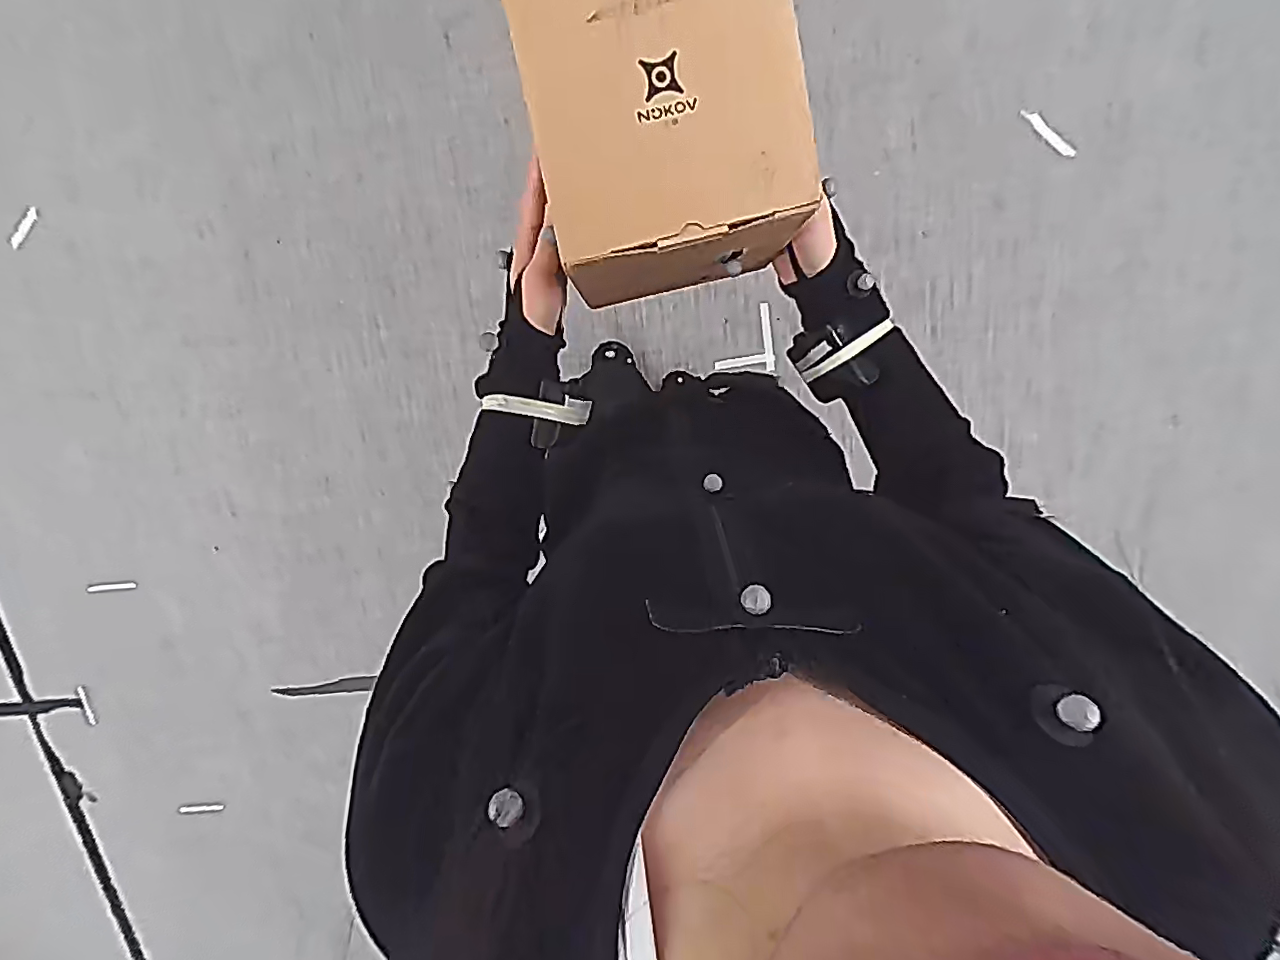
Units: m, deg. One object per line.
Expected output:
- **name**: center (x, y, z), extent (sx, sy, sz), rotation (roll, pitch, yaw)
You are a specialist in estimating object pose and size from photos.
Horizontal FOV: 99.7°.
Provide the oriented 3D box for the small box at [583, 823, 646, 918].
- **small box**: center (-0.074, 1.215, 1.687), extent (0.168, 0.176, 0.179), rotation (-7, 101, 4)
